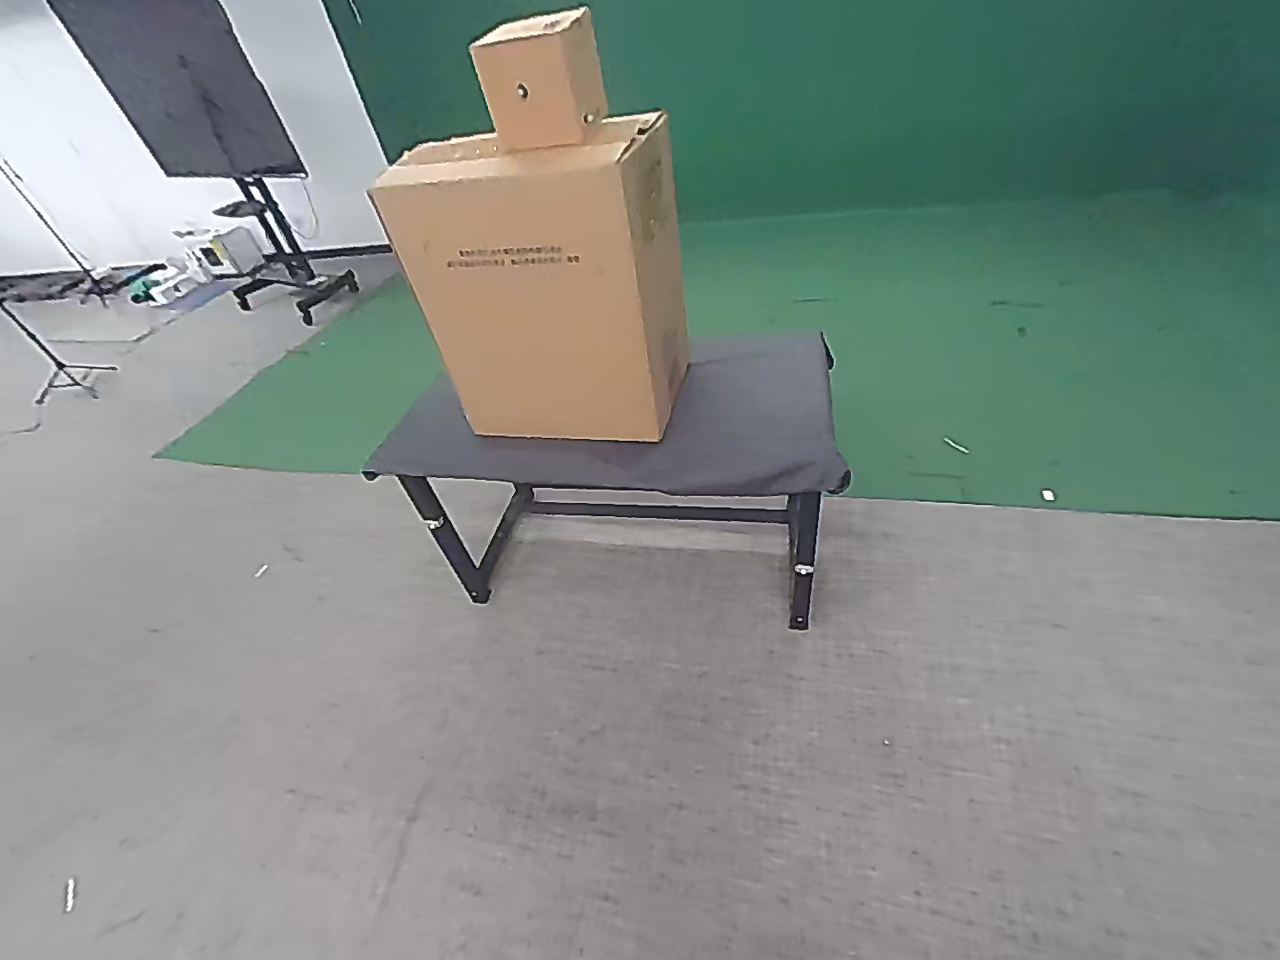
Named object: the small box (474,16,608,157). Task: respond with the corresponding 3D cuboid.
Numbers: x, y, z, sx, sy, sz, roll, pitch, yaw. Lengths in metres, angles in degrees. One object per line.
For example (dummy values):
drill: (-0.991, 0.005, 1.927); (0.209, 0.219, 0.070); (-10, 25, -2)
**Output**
small box: (-0.175, -0.739, 1.023); (0.179, 0.176, 0.168); (4, 50, 17)
